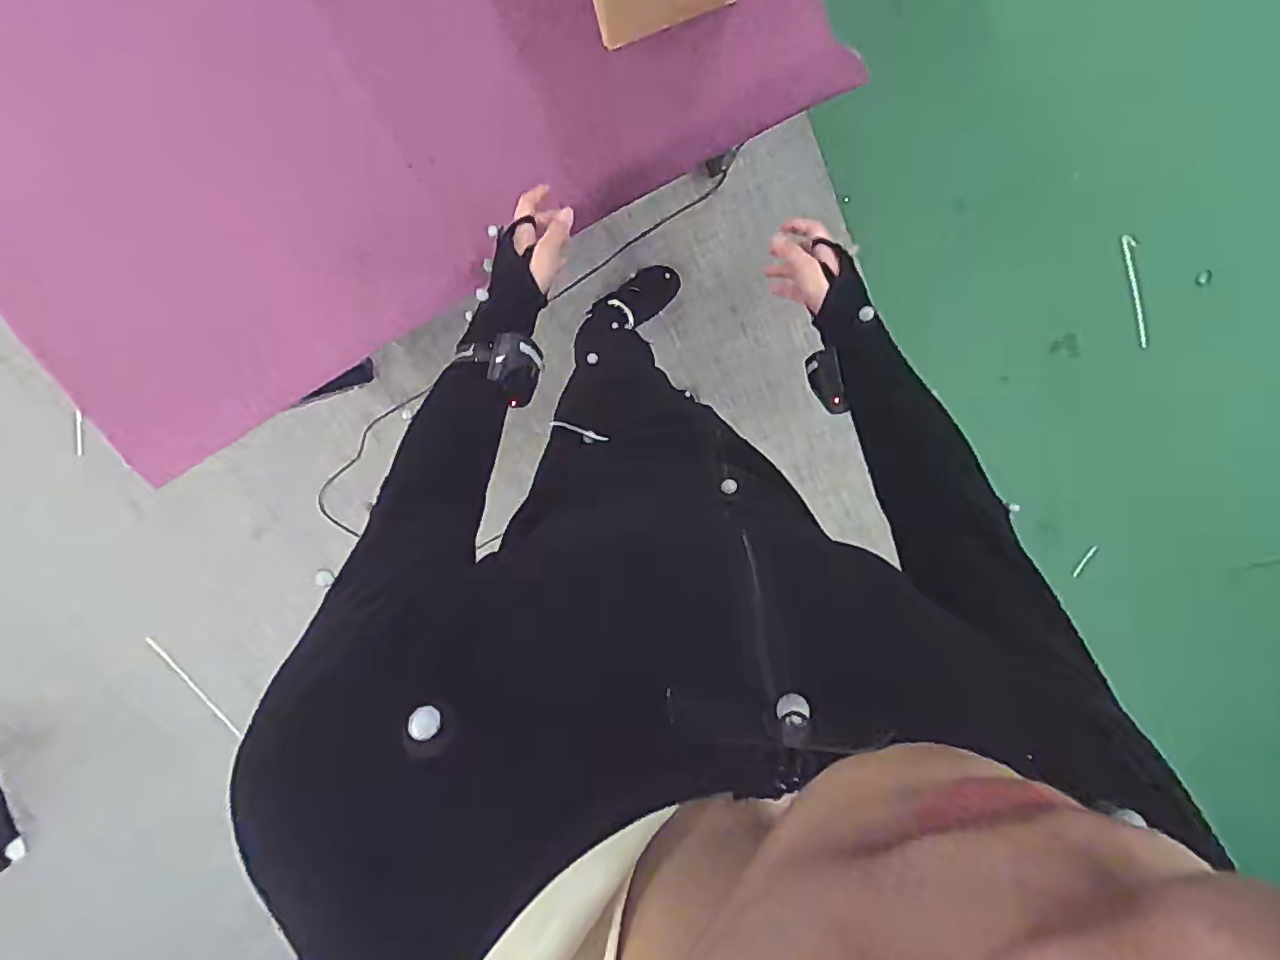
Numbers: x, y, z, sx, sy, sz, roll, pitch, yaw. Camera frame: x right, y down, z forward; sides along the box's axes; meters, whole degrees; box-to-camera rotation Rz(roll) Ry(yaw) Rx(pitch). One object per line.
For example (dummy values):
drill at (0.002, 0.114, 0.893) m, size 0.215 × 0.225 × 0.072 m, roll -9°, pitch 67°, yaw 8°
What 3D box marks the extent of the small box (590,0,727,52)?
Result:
small box at (0.015, -0.619, 0.589) m, size 0.179 × 0.176 × 0.168 m, roll -17°, pitch 107°, yaw 6°
